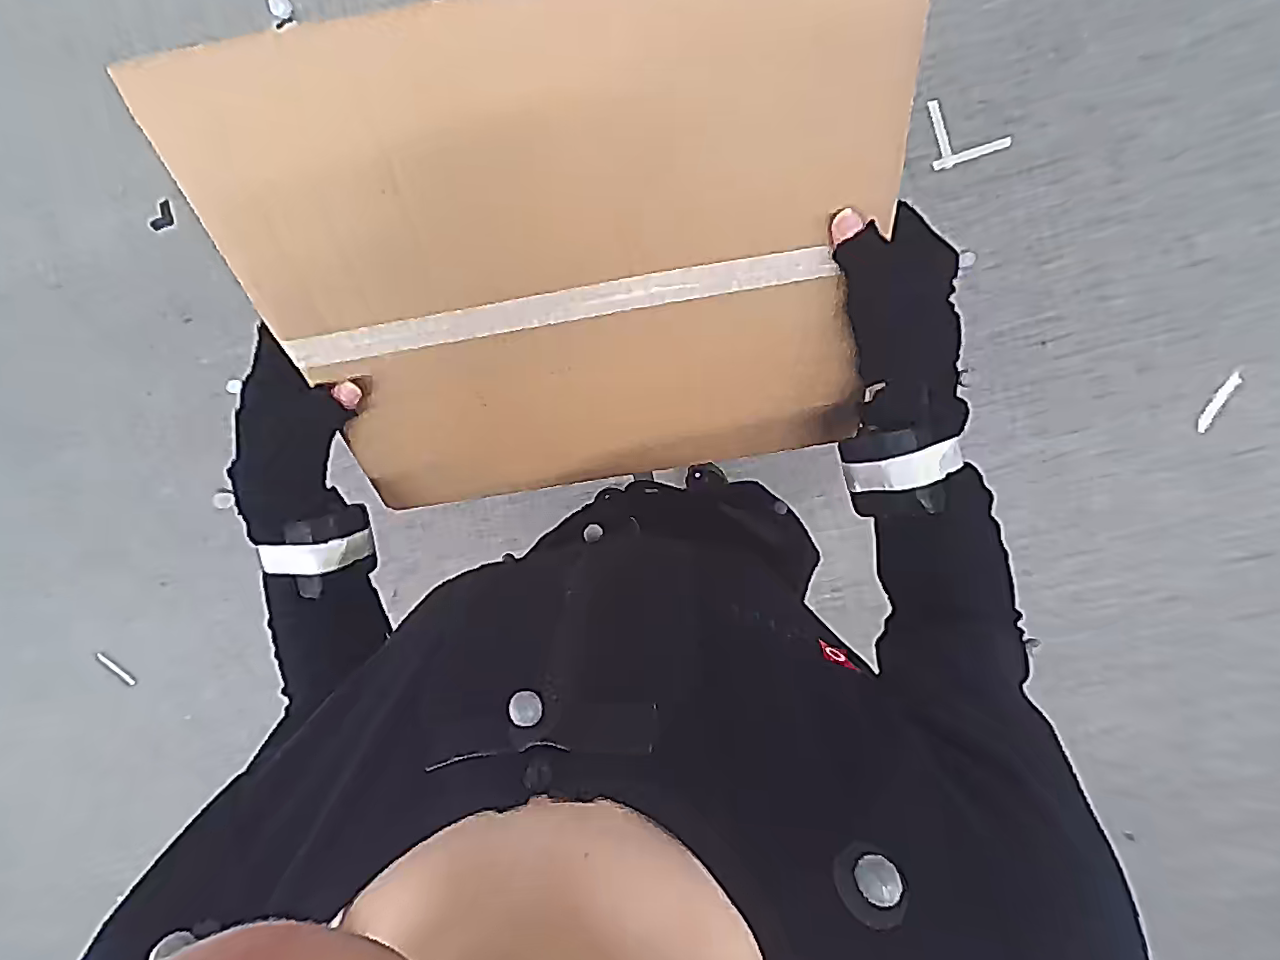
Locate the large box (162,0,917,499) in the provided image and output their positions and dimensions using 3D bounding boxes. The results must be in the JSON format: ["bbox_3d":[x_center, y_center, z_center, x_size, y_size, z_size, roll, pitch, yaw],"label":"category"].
[{"bbox_3d":[-0.047,-0.224,0.479,0.408,0.320,0.320,-9,133,2],"label":"large box"}]
